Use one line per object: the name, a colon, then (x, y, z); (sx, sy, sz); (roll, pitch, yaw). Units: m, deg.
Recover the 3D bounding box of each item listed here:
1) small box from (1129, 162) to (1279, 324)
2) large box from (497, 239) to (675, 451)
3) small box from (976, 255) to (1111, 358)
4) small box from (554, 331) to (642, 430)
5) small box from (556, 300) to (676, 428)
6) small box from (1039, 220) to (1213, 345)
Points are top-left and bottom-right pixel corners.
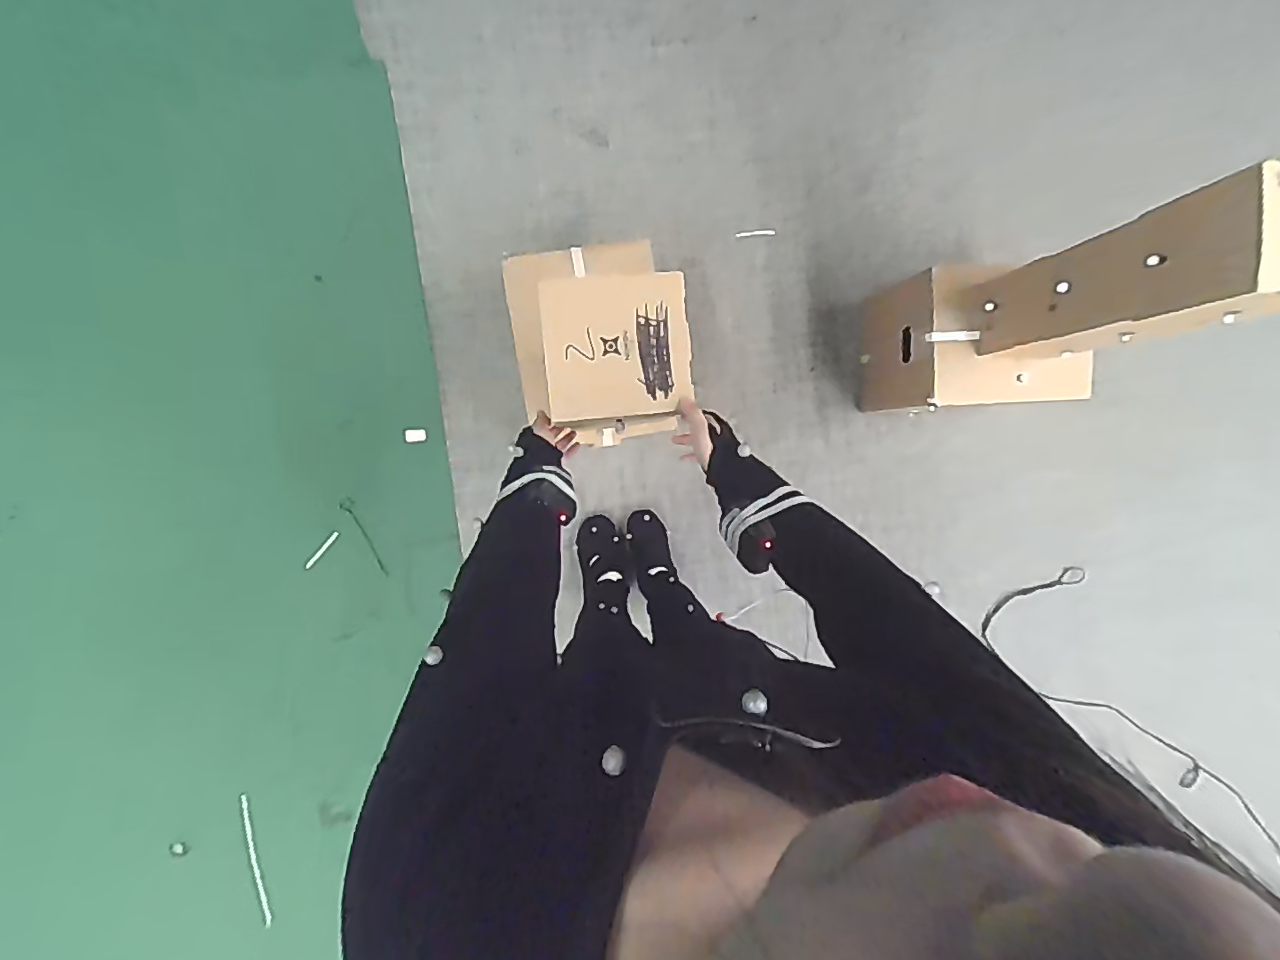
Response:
small box: (0.888, -0.339, 0.810); (0.168, 0.176, 0.179); (1, 93, -7)
large box: (-0.122, -0.291, 1.273); (0.320, 0.320, 0.408); (-10, 94, -6)
small box: (0.849, -0.355, 1.136); (0.179, 0.176, 0.168); (1, 92, -7)
small box: (-0.070, -0.190, 1.041); (0.168, 0.176, 0.179); (-7, 94, -6)
small box: (-0.042, -0.178, 0.879); (0.168, 0.176, 0.179); (-7, 94, -7)
small box: (0.871, -0.343, 0.974); (0.179, 0.176, 0.168); (2, 92, -6)
